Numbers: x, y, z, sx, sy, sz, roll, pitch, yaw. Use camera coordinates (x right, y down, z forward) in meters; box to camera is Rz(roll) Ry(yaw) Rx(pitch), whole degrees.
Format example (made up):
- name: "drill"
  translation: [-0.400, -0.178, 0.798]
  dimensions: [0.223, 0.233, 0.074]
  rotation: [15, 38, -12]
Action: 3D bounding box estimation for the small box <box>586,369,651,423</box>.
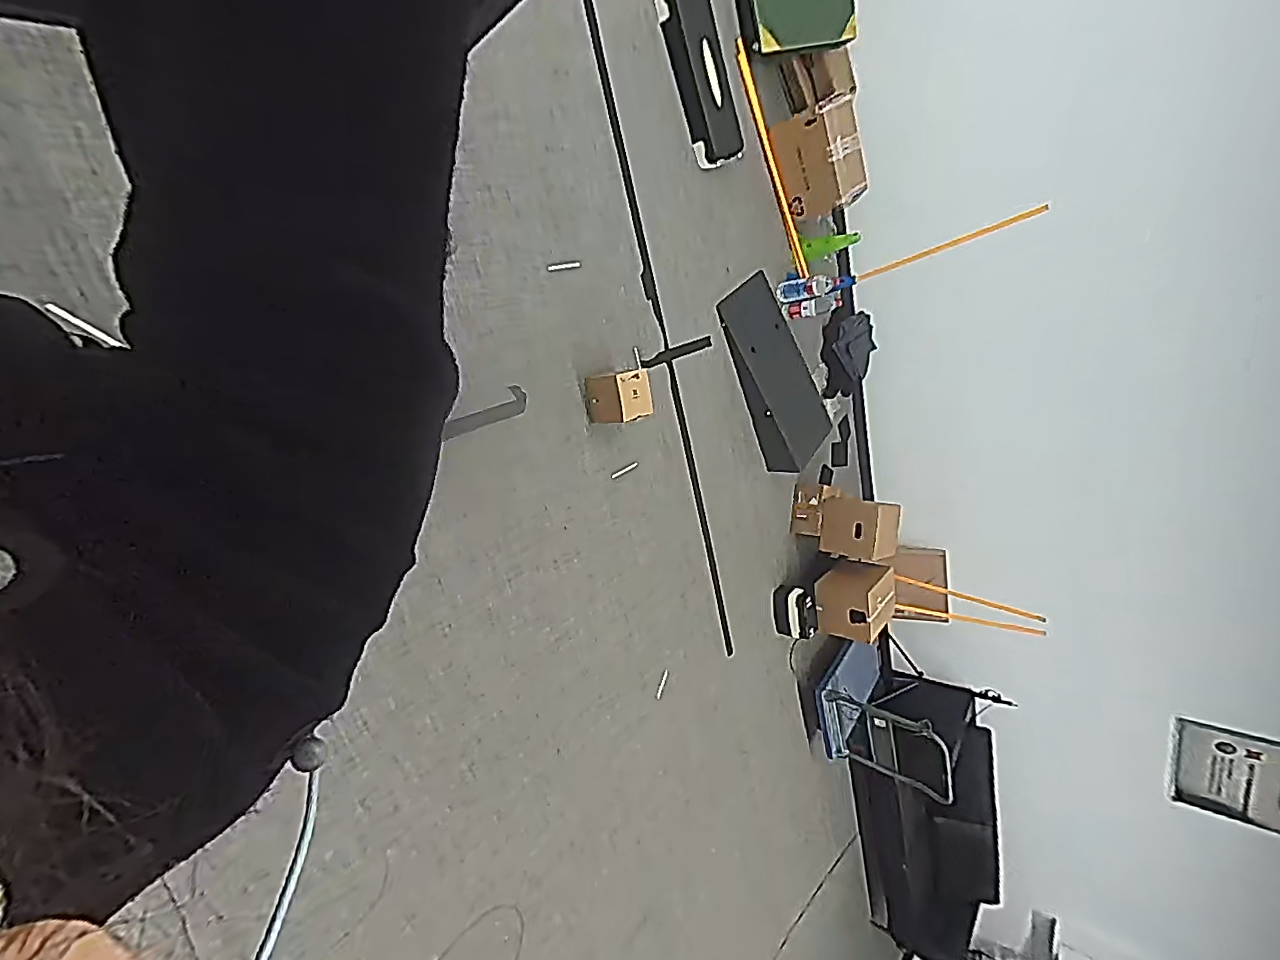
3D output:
- name: "small box"
  translation: [-0.083, -0.316, 2.033]
  dimensions: [0.168, 0.176, 0.179]
  rotation: [-24, 111, -44]
